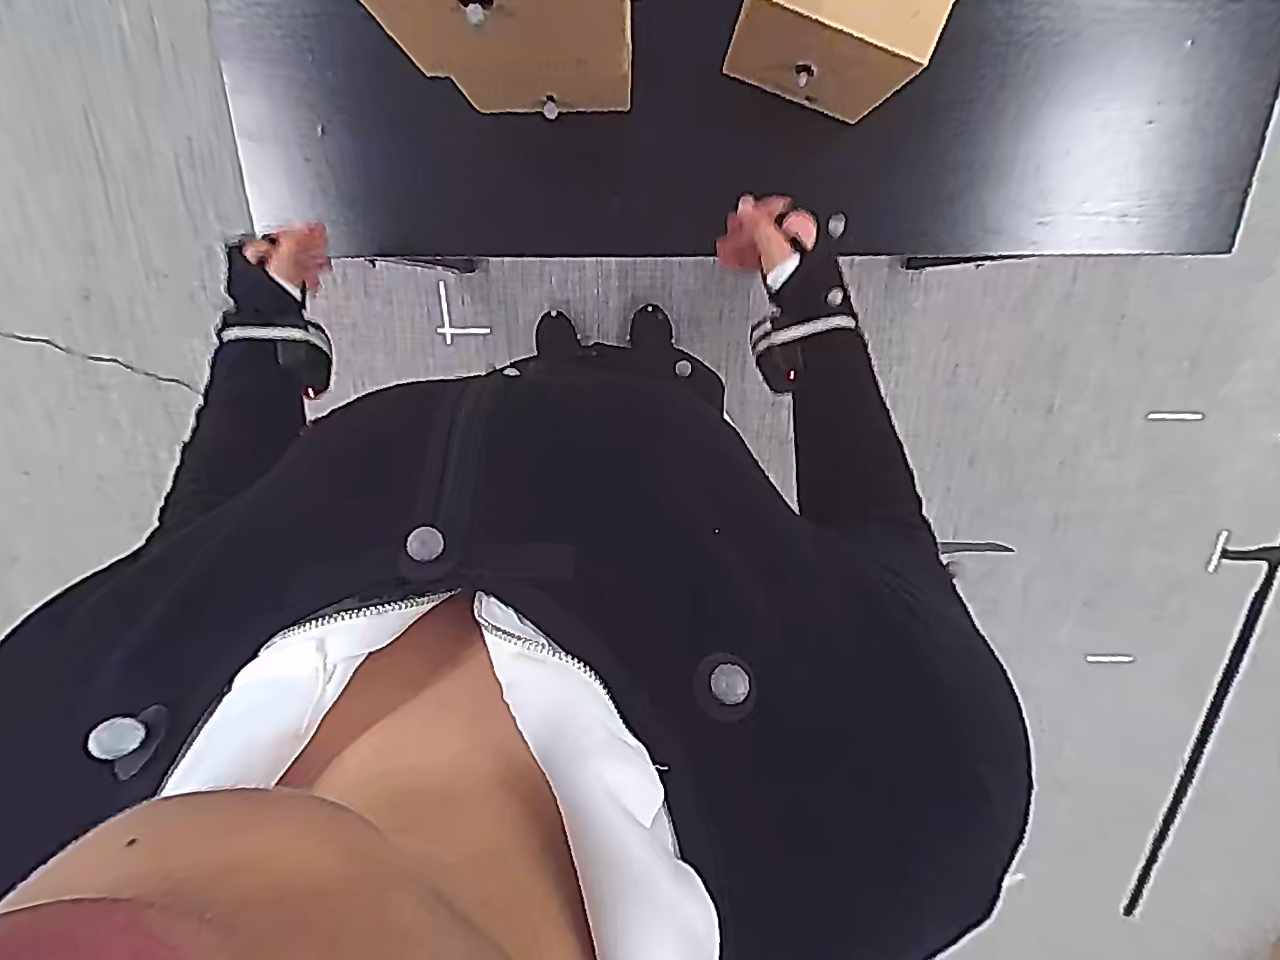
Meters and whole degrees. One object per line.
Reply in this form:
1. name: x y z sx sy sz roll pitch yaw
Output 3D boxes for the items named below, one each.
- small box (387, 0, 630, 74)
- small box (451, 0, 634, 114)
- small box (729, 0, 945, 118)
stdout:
1. small box: -0.096 -0.408 0.374 0.179 0.176 0.168 -1 108 -1
2. small box: -0.097 -0.478 0.526 0.179 0.176 0.168 -2 108 -2
3. small box: 0.197 -0.494 0.527 0.168 0.176 0.179 17 106 -7
